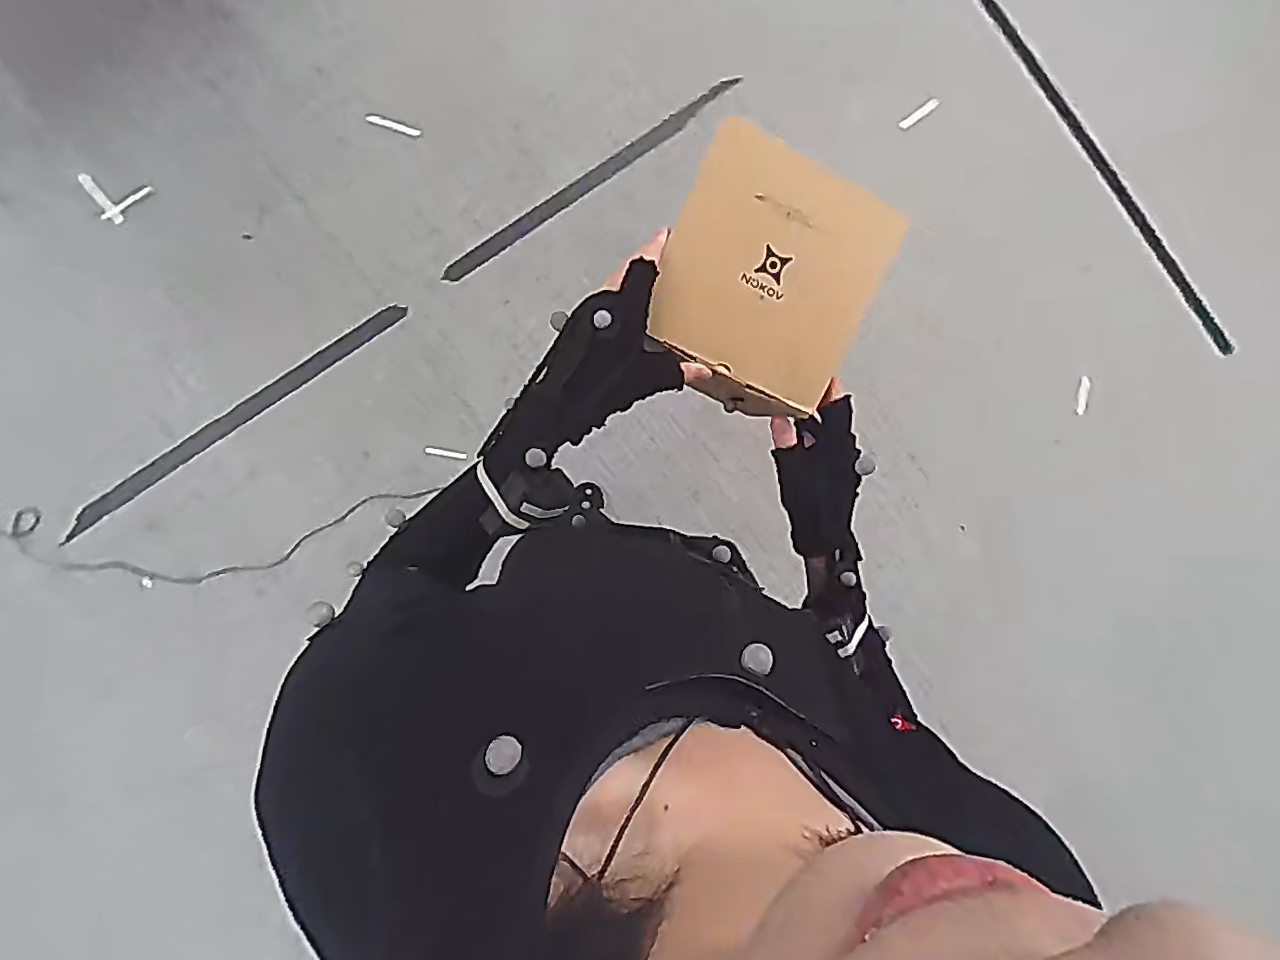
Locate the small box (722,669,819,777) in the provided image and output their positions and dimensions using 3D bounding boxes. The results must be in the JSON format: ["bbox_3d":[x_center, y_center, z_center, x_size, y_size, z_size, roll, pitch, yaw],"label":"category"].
[{"bbox_3d":[0.342,0.649,1.467,0.168,0.176,0.179,44,83,-4],"label":"small box"}]

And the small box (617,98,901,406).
[{"bbox_3d":[0.085,-0.176,0.485,0.168,0.176,0.179,23,93,-8],"label":"small box"}]
